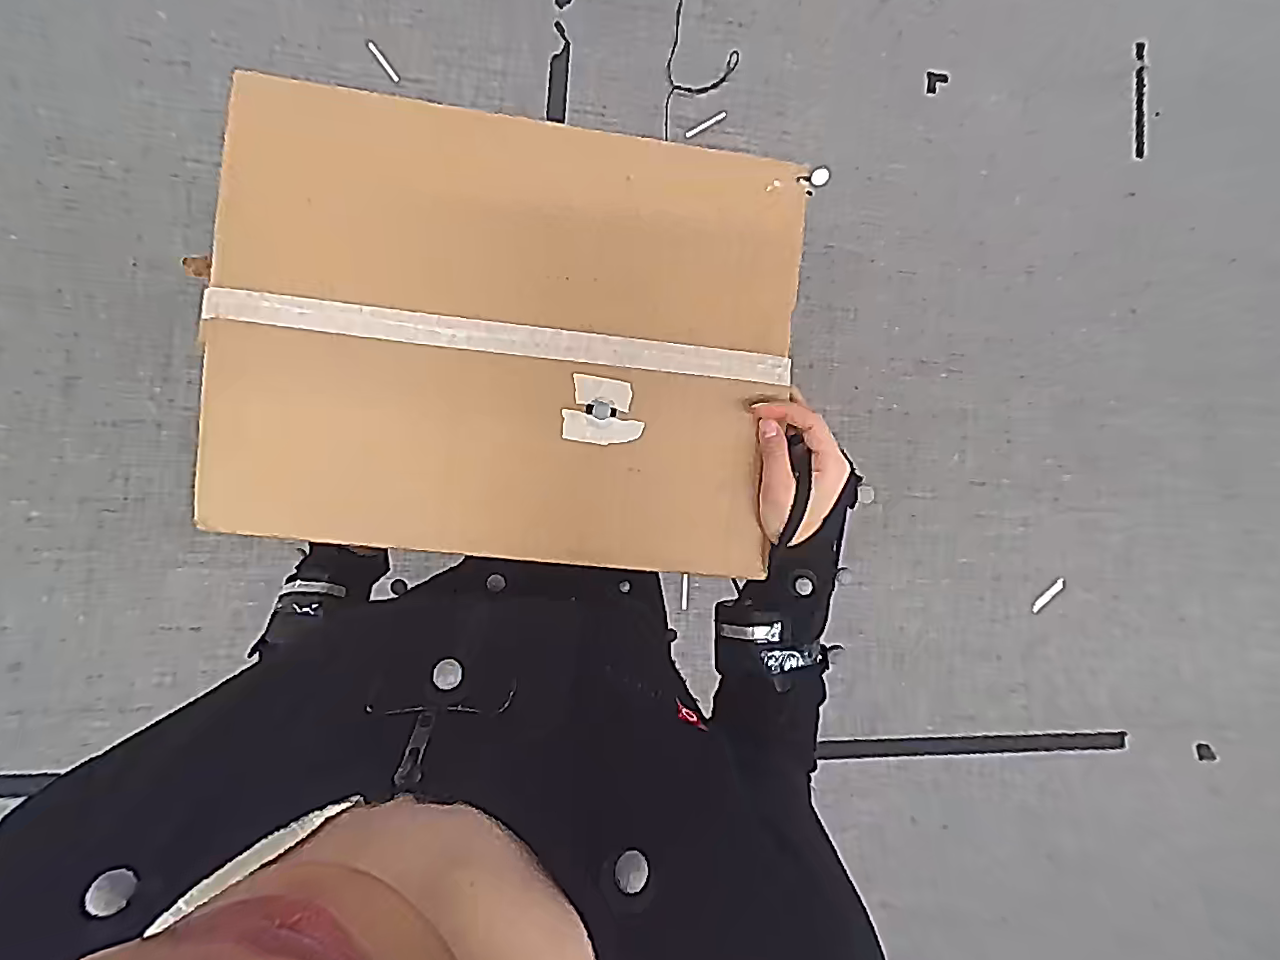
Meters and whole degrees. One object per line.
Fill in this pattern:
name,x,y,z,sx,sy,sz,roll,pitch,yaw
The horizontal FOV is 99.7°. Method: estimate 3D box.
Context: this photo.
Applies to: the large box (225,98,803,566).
large box,-0.099,-0.102,0.544,0.408,0.320,0.320,5,91,-6
